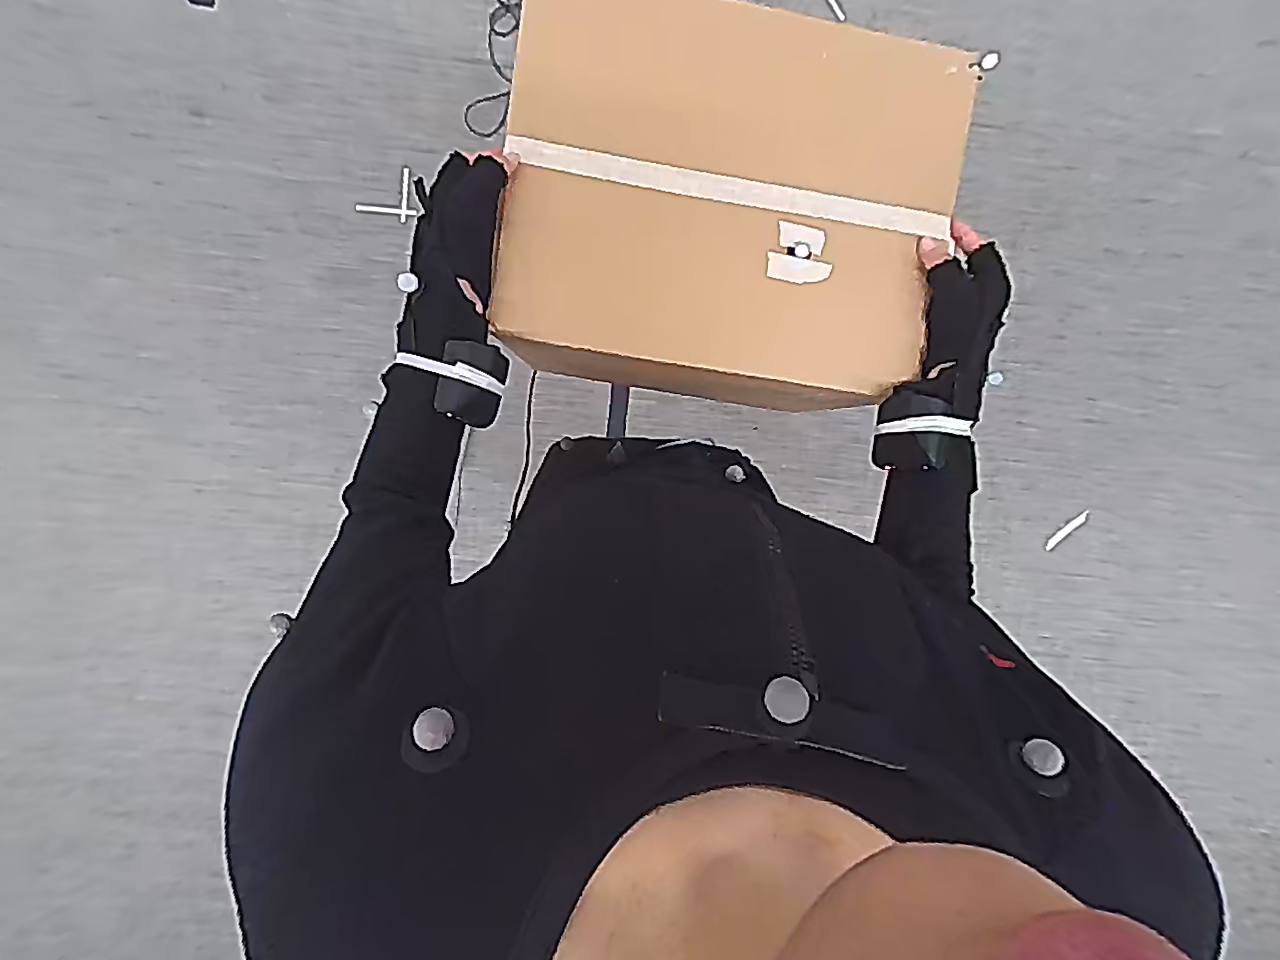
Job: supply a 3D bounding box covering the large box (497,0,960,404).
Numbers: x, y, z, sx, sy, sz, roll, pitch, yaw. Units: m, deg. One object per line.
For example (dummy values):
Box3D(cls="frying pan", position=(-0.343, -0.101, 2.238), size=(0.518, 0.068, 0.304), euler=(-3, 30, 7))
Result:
Box3D(cls="large box", position=(0.071, -0.277, 0.646), size=(0.408, 0.320, 0.320), euler=(9, 96, -5))
